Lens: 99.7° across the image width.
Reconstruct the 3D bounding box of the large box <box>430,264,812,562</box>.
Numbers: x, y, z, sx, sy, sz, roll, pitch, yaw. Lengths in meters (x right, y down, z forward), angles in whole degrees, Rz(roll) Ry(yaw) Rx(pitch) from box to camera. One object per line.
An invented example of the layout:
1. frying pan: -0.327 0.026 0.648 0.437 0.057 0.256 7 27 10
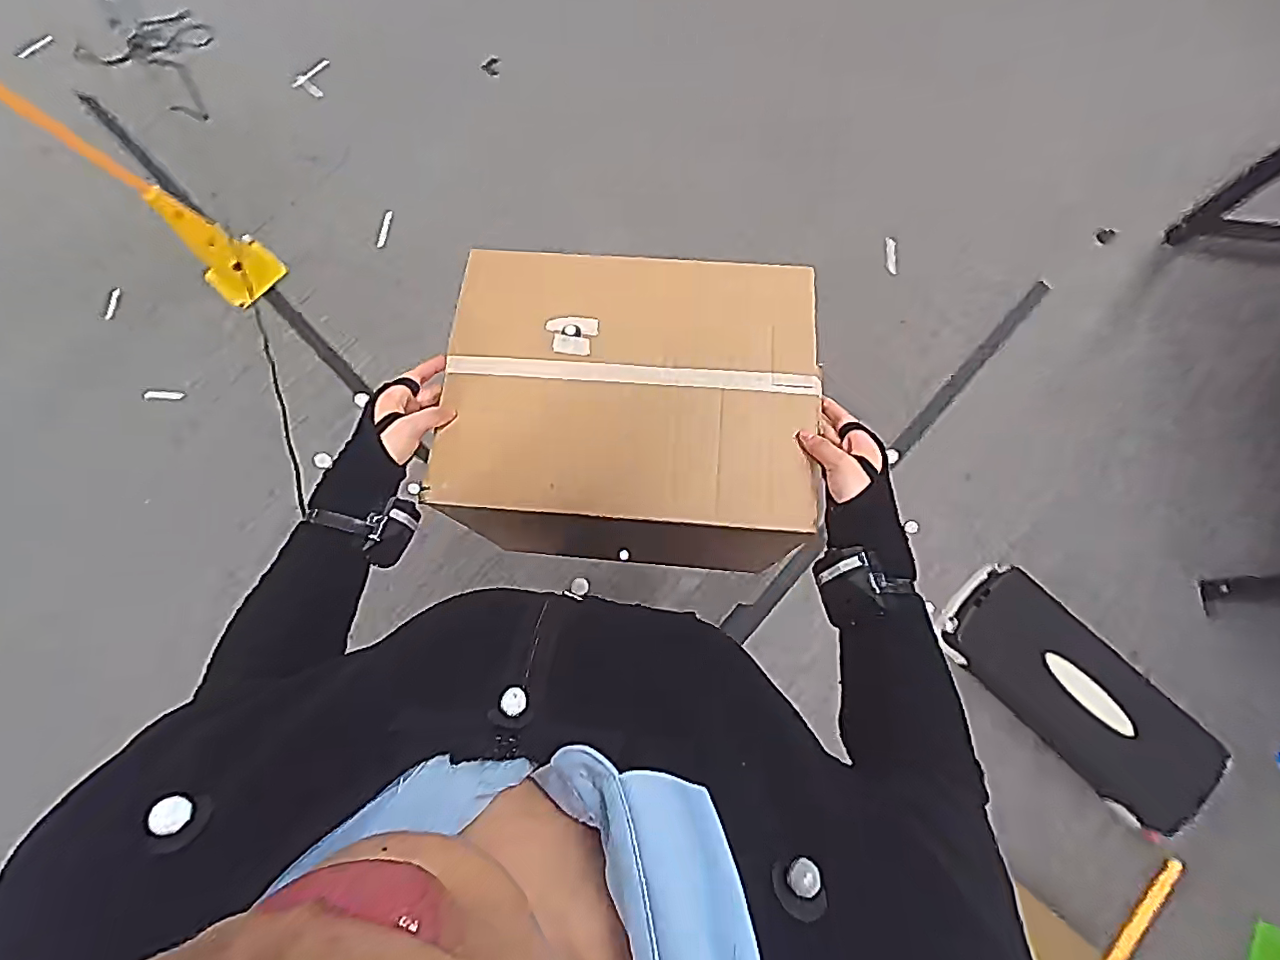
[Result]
1. large box: -0.009 -0.066 0.741 0.408 0.320 0.320 3 72 3
